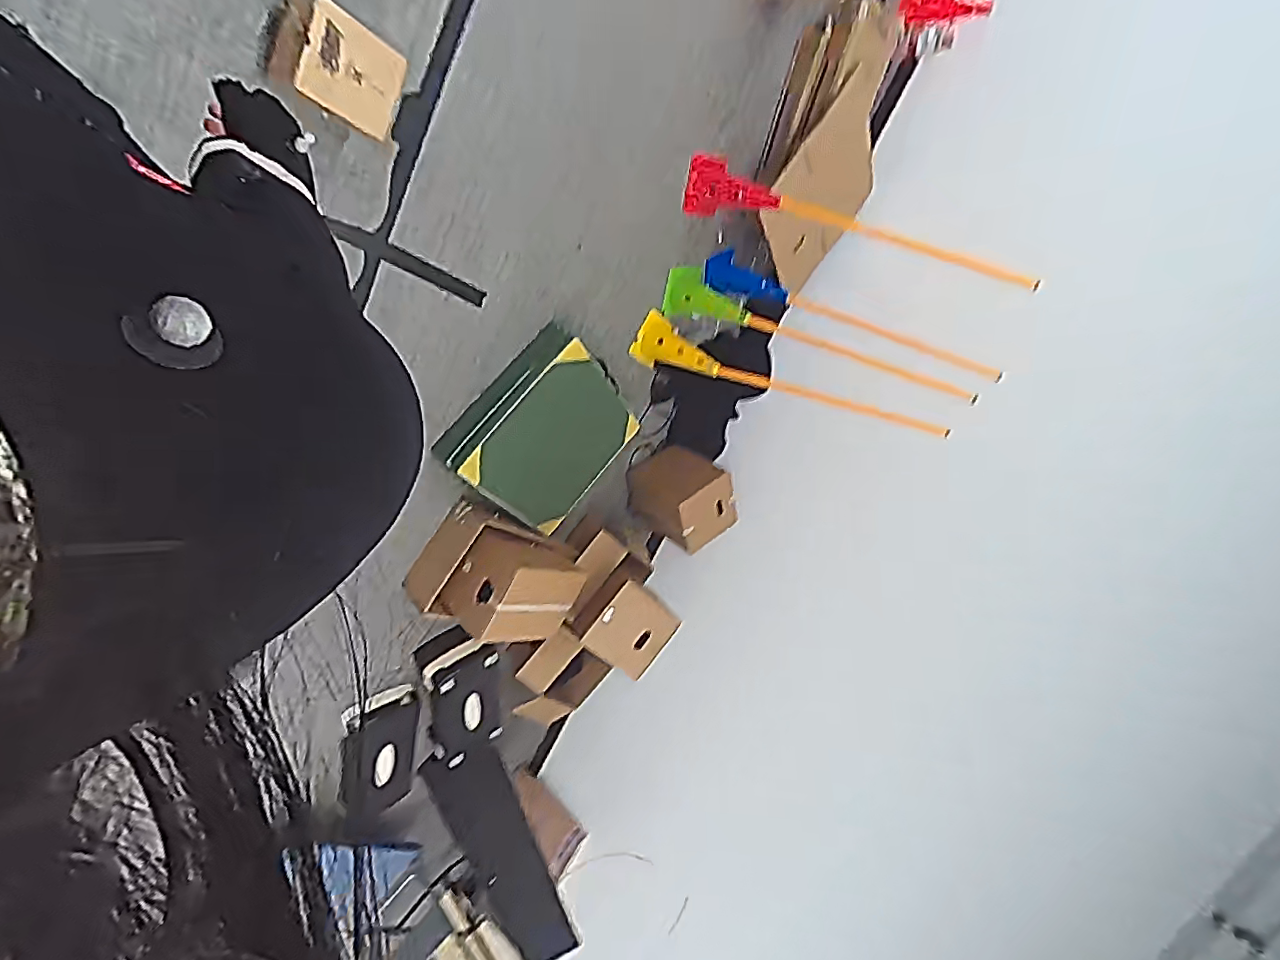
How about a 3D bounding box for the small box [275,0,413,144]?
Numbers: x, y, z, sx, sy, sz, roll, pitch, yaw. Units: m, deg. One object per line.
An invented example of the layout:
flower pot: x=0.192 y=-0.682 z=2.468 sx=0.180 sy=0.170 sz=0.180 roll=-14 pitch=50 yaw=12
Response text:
small box: x=-0.602 y=-0.818 z=1.094 sx=0.179 sy=0.176 sz=0.168 roll=9 pitch=111 yaw=-55
